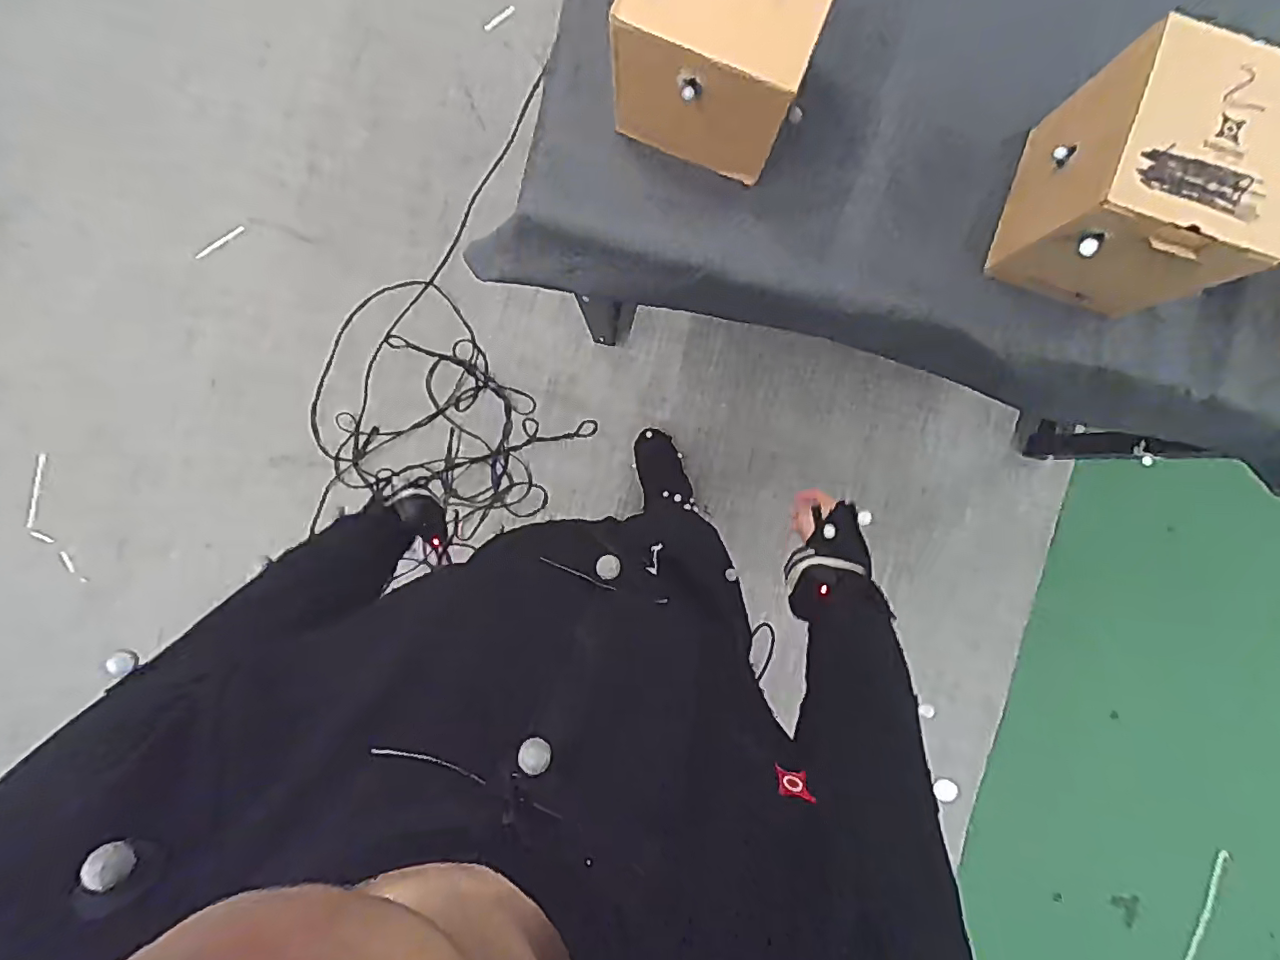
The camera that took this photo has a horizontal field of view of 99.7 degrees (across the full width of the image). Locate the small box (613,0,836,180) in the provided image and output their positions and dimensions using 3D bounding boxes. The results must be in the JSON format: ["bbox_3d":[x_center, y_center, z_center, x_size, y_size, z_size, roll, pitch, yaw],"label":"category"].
[{"bbox_3d":[0.084,-0.440,0.542,0.179,0.176,0.168,21,93,-2],"label":"small box"}]
